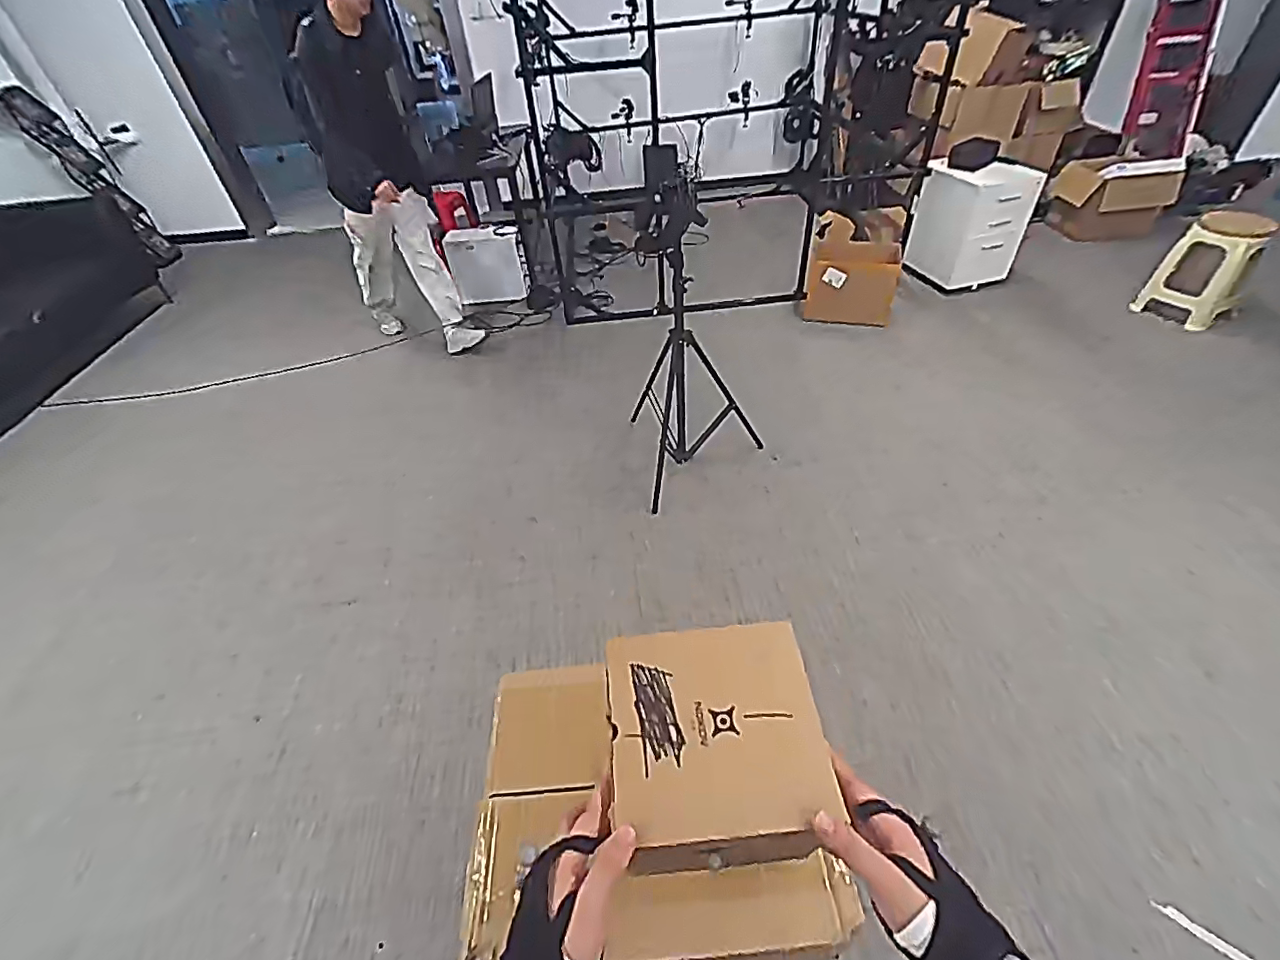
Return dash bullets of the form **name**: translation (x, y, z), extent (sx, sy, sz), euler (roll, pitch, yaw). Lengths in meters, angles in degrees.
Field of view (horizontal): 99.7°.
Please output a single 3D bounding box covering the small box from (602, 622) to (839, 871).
- **small box**: translation (0.061, 0.254, 0.511), extent (0.179, 0.176, 0.168), euler (-5, 48, -2)
